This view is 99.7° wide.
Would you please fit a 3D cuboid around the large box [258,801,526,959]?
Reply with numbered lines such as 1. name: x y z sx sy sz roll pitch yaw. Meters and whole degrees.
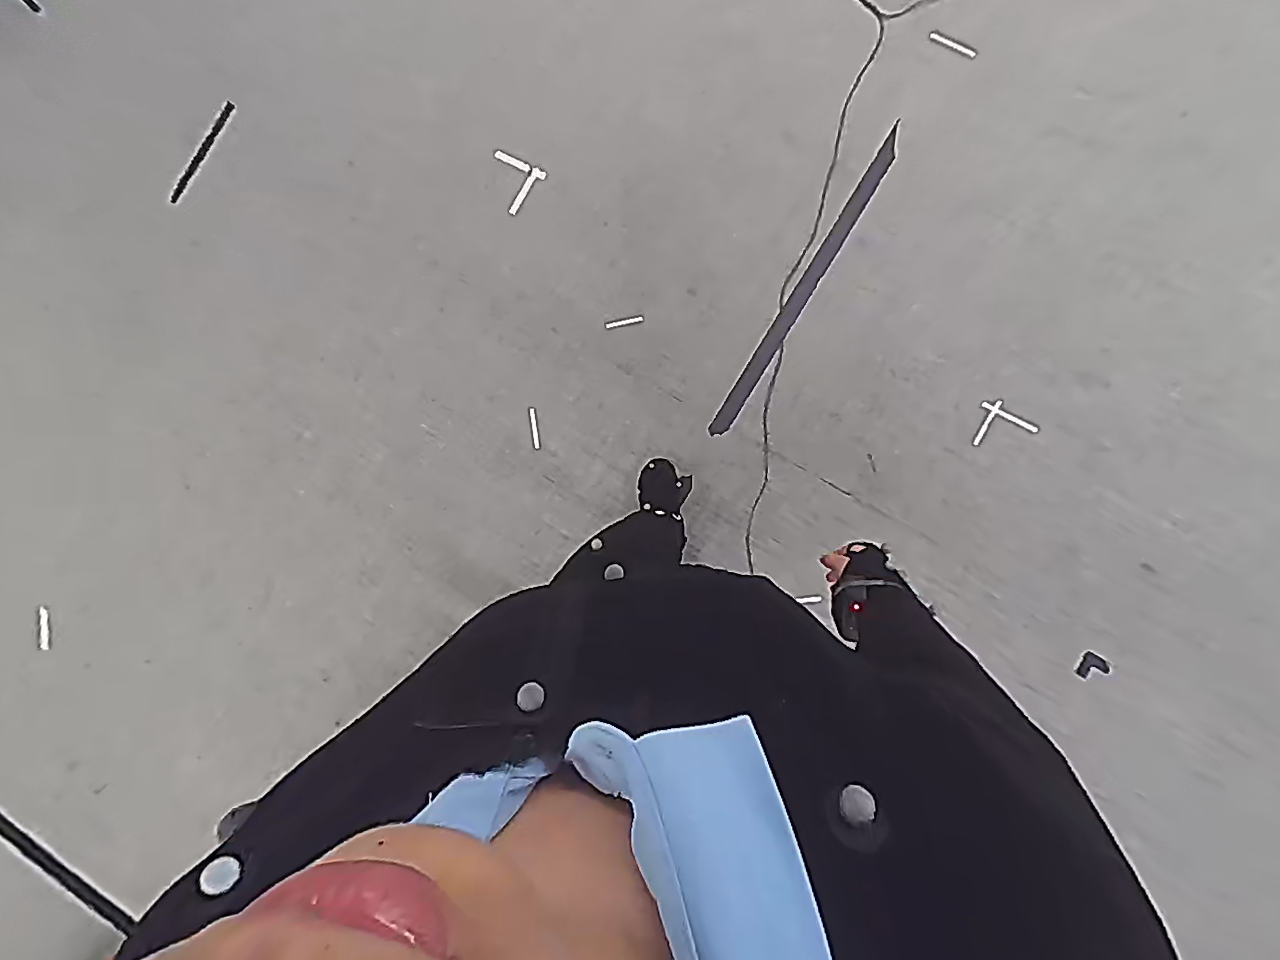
1. large box: -0.518 0.980 1.132 0.408 0.320 0.320 31 88 6
